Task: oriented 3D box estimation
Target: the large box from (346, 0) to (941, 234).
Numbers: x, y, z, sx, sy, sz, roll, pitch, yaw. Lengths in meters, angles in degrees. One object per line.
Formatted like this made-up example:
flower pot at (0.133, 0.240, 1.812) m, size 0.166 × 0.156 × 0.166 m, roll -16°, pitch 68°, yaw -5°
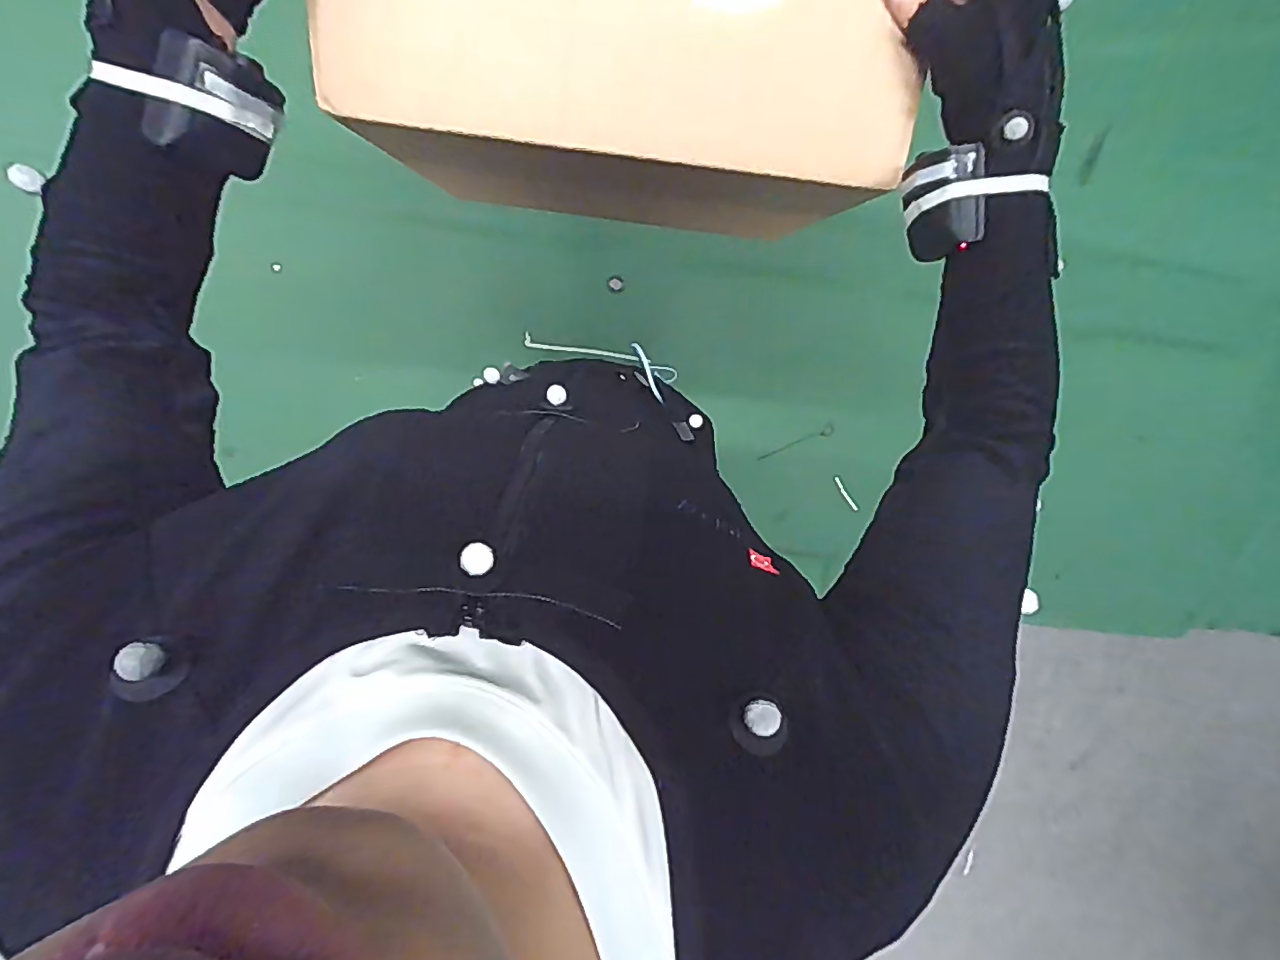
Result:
large box at (0.004, -0.426, 0.484) m, size 0.408 × 0.320 × 0.320 m, roll 5°, pitch 108°, yaw -5°
